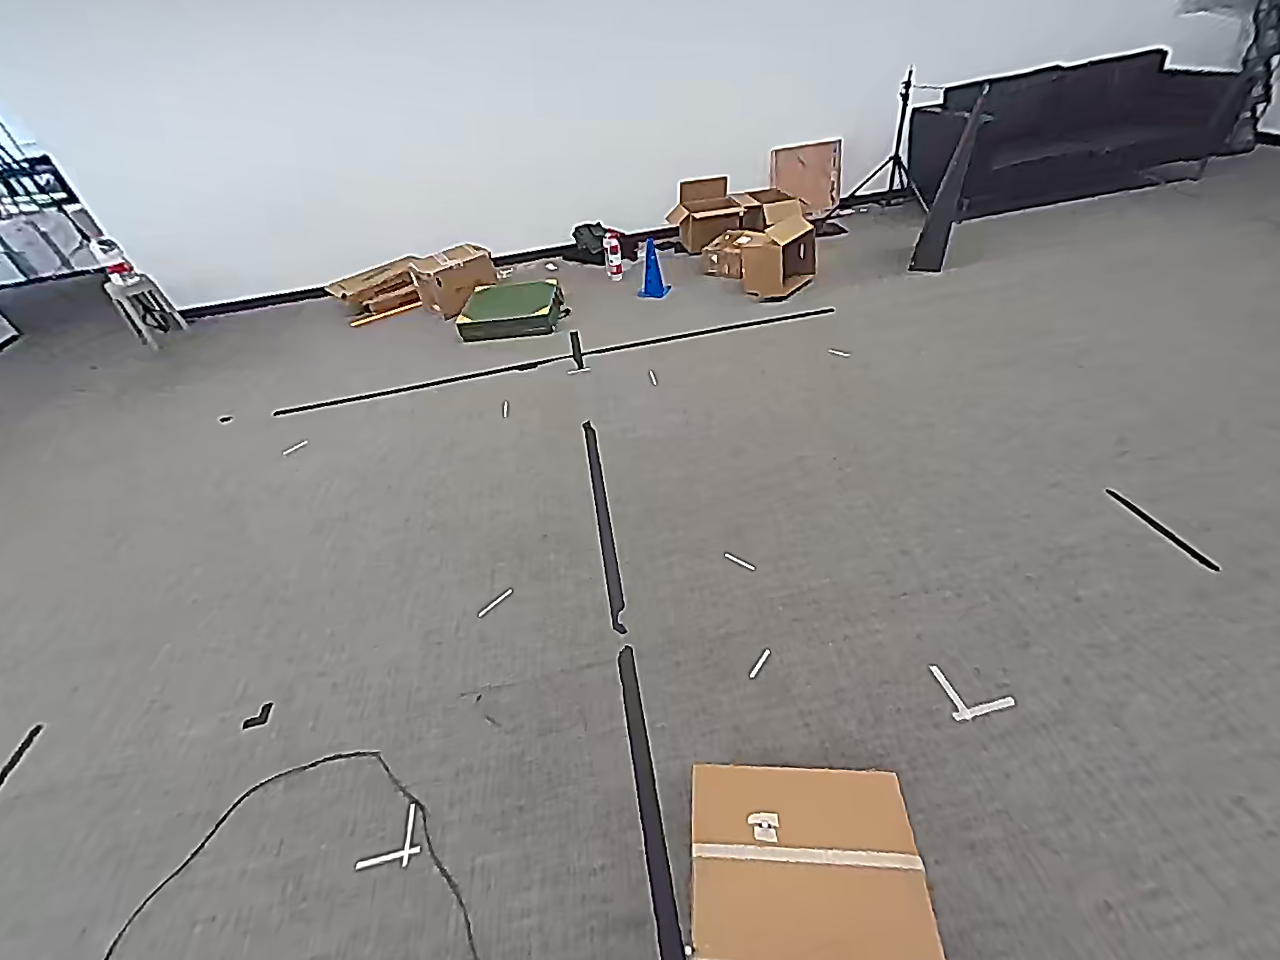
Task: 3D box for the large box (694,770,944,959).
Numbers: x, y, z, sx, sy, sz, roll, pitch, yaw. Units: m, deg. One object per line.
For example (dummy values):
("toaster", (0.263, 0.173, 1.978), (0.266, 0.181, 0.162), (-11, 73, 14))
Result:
("large box", (0.320, 0.809, 1.086), (0.408, 0.320, 0.320), (-3, 39, 8))
